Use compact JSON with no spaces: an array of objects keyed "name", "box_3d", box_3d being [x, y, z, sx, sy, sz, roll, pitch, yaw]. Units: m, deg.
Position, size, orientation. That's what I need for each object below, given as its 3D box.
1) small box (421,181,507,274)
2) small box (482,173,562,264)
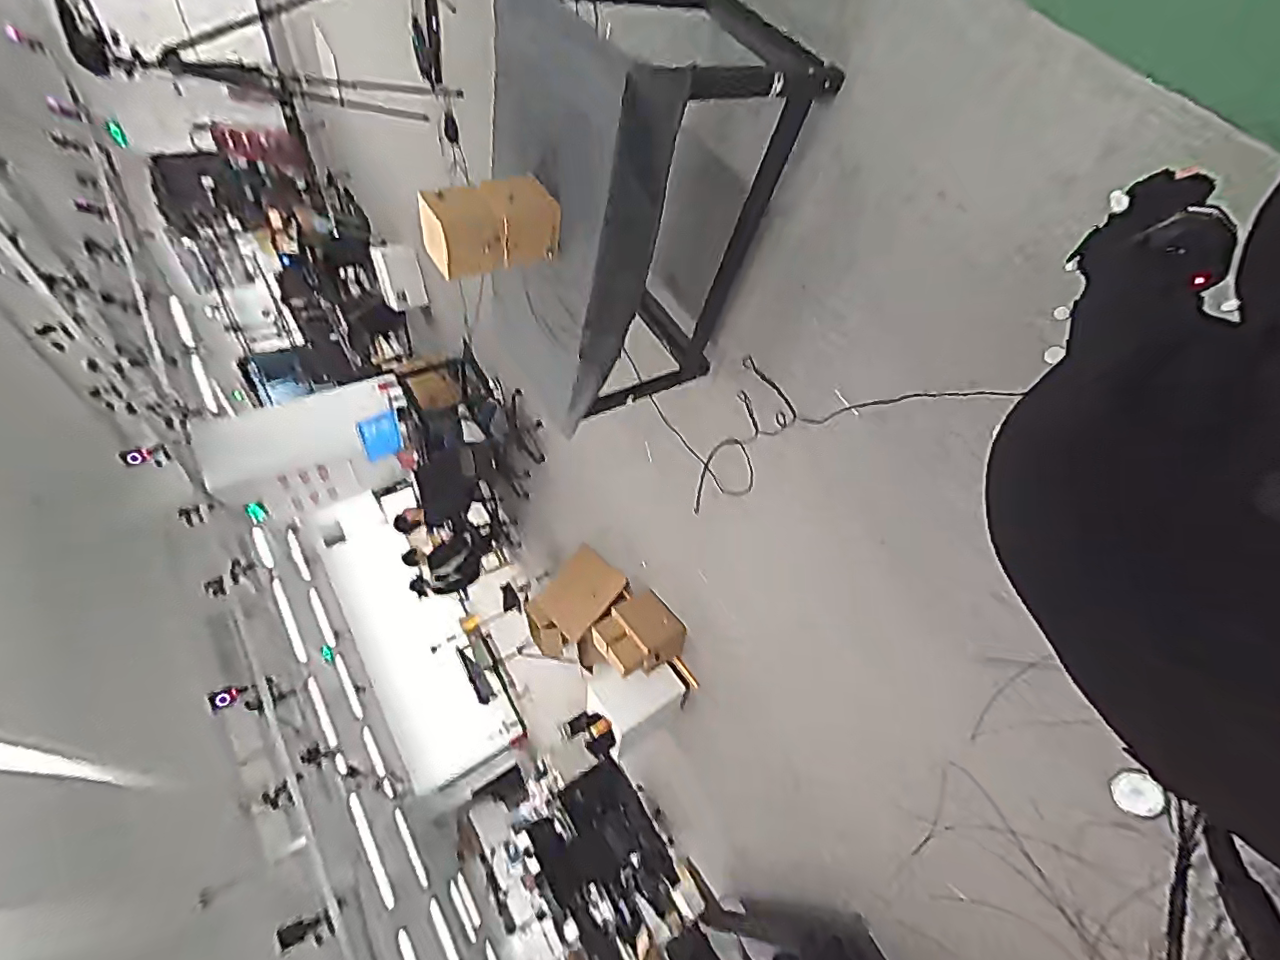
[{"name":"small box","box_3d":[-0.481,-0.702,1.496,0.179,0.176,0.168,53,151,23]},{"name":"small box","box_3d":[-0.337,-0.758,1.554,0.179,0.176,0.168,55,151,22]}]
